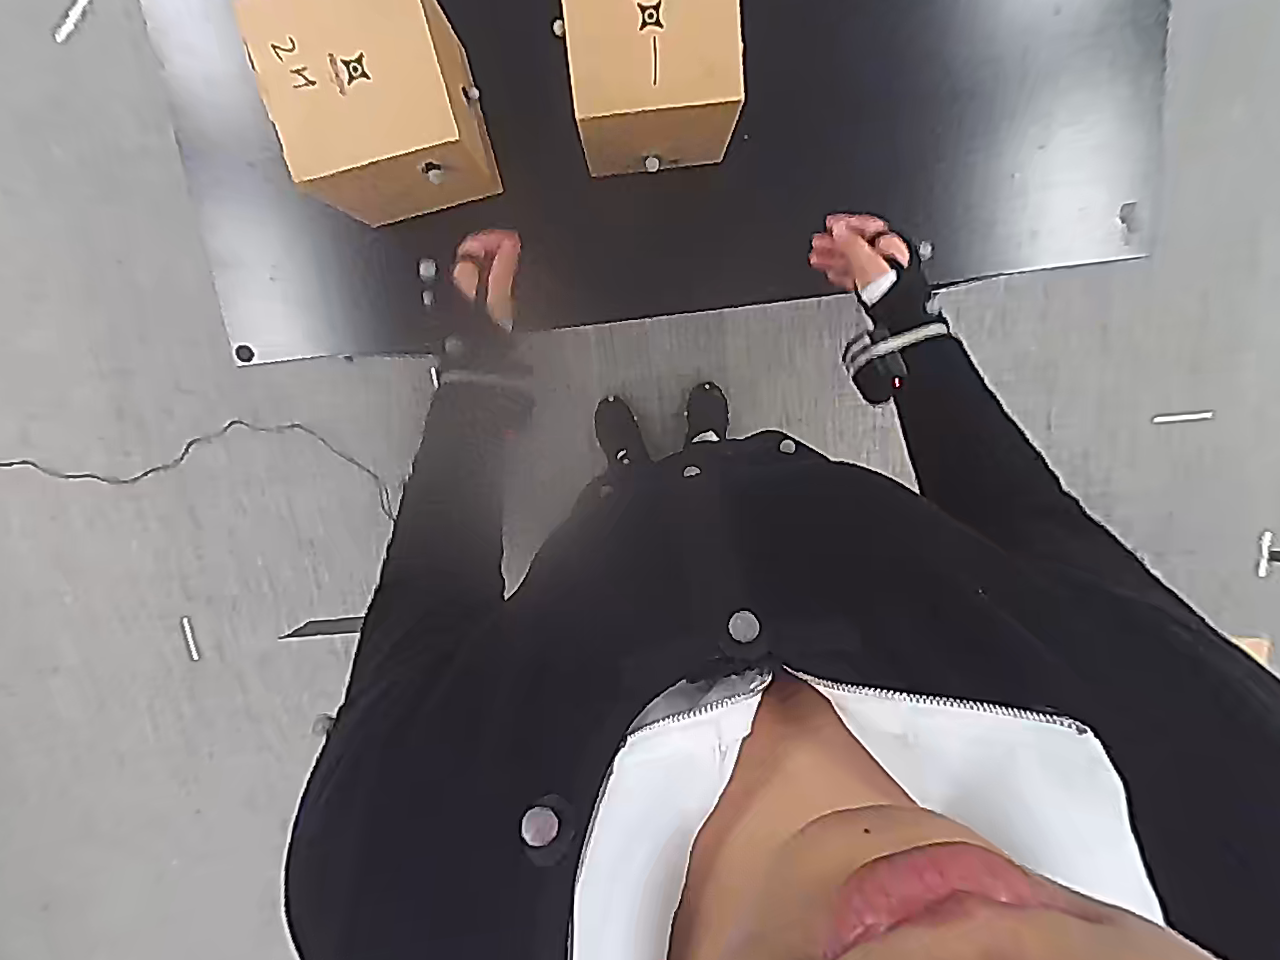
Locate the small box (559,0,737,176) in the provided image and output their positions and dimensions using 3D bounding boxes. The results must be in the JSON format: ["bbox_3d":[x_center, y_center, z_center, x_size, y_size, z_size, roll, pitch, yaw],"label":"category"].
[{"bbox_3d":[0.006,-0.457,0.583,0.168,0.176,0.179,-5,103,2],"label":"small box"}]

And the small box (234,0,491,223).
[{"bbox_3d":[-0.279,-0.406,0.596,0.179,0.176,0.168,-13,102,4],"label":"small box"}]
